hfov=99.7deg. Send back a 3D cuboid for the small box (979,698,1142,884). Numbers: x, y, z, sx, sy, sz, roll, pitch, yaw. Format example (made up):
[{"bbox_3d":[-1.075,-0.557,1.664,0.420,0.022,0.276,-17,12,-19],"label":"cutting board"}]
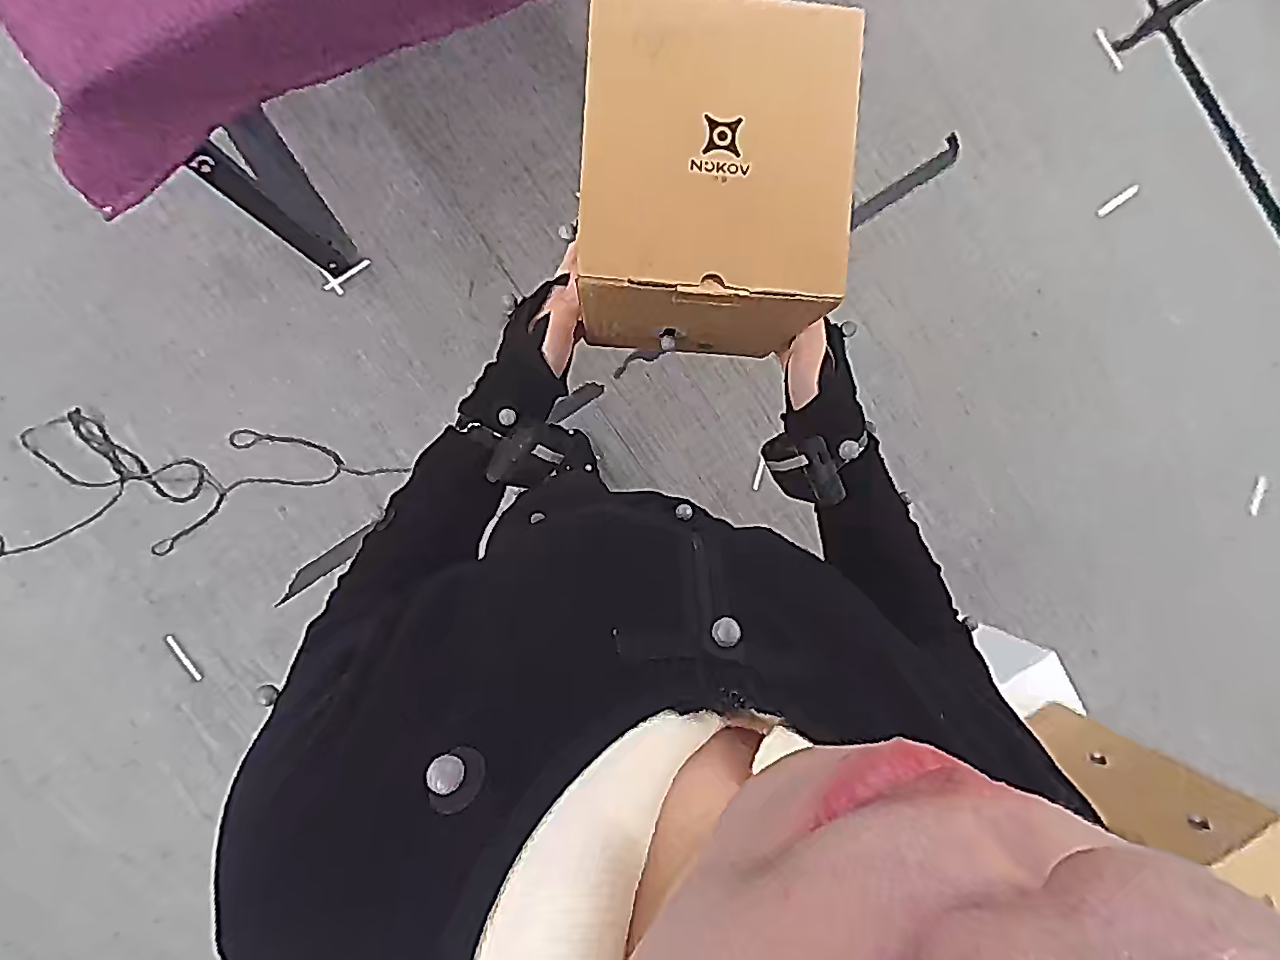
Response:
[{"bbox_3d":[0.725,0.509,0.911,0.168,0.176,0.179,-28,95,-4],"label":"small box"}]

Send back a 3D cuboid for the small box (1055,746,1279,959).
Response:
[{"bbox_3d":[0.739,0.510,0.747,0.179,0.176,0.168,-28,93,-4],"label":"small box"}]

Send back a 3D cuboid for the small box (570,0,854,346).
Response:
[{"bbox_3d":[0.037,-0.209,0.400,0.168,0.176,0.179,3,93,-4],"label":"small box"}]
